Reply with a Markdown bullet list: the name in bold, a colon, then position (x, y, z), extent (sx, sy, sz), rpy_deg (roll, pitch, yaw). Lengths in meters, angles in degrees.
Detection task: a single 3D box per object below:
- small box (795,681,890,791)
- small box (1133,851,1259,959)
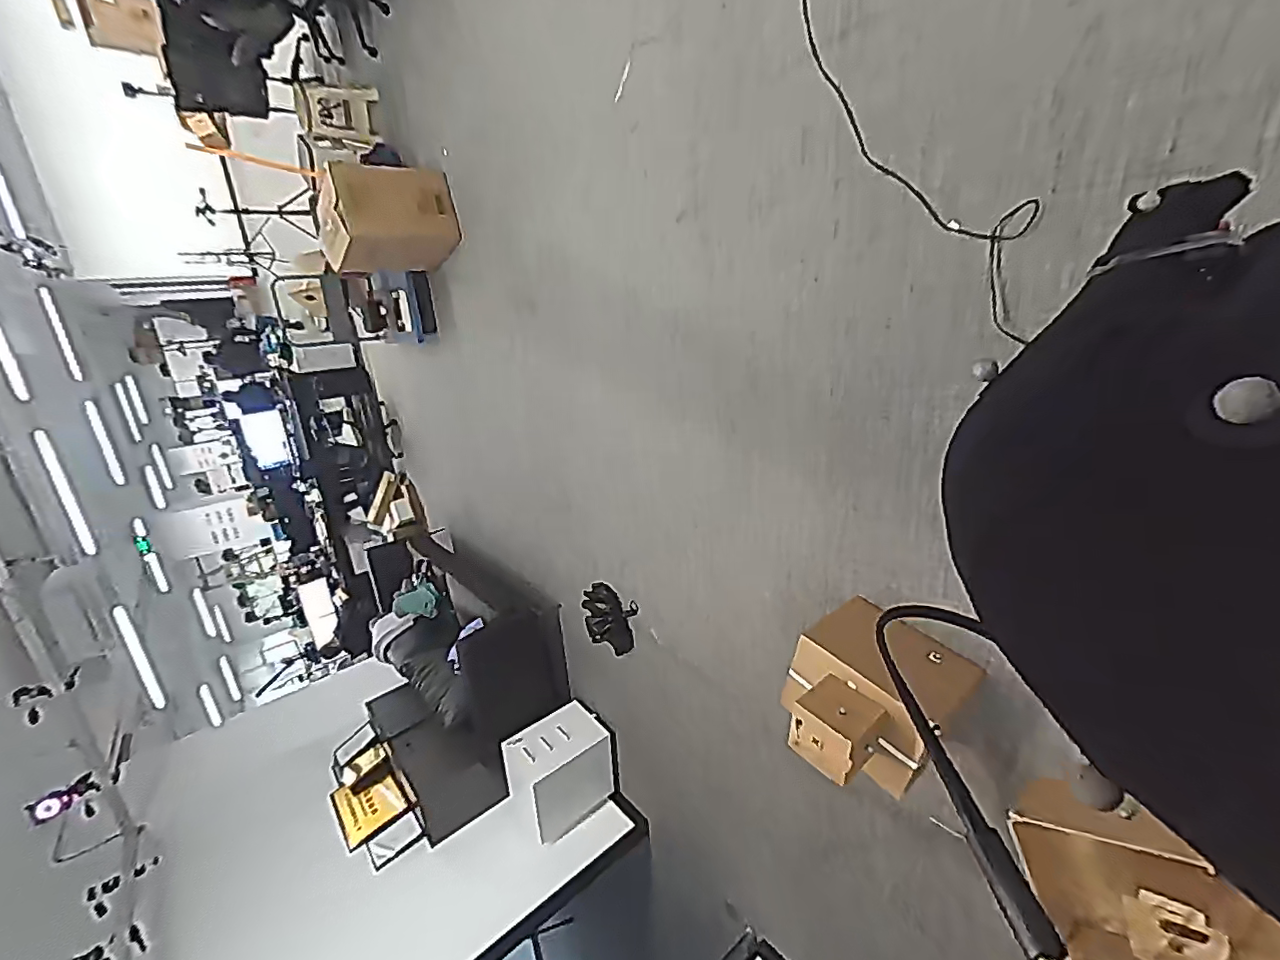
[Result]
- **small box**: position (0.548, 0.683, 1.465), extent (0.179, 0.176, 0.168), rpy_deg (25, 123, 45)
- **small box**: position (1.207, 0.963, 1.174), extent (0.168, 0.176, 0.179), rpy_deg (-8, 100, 53)
